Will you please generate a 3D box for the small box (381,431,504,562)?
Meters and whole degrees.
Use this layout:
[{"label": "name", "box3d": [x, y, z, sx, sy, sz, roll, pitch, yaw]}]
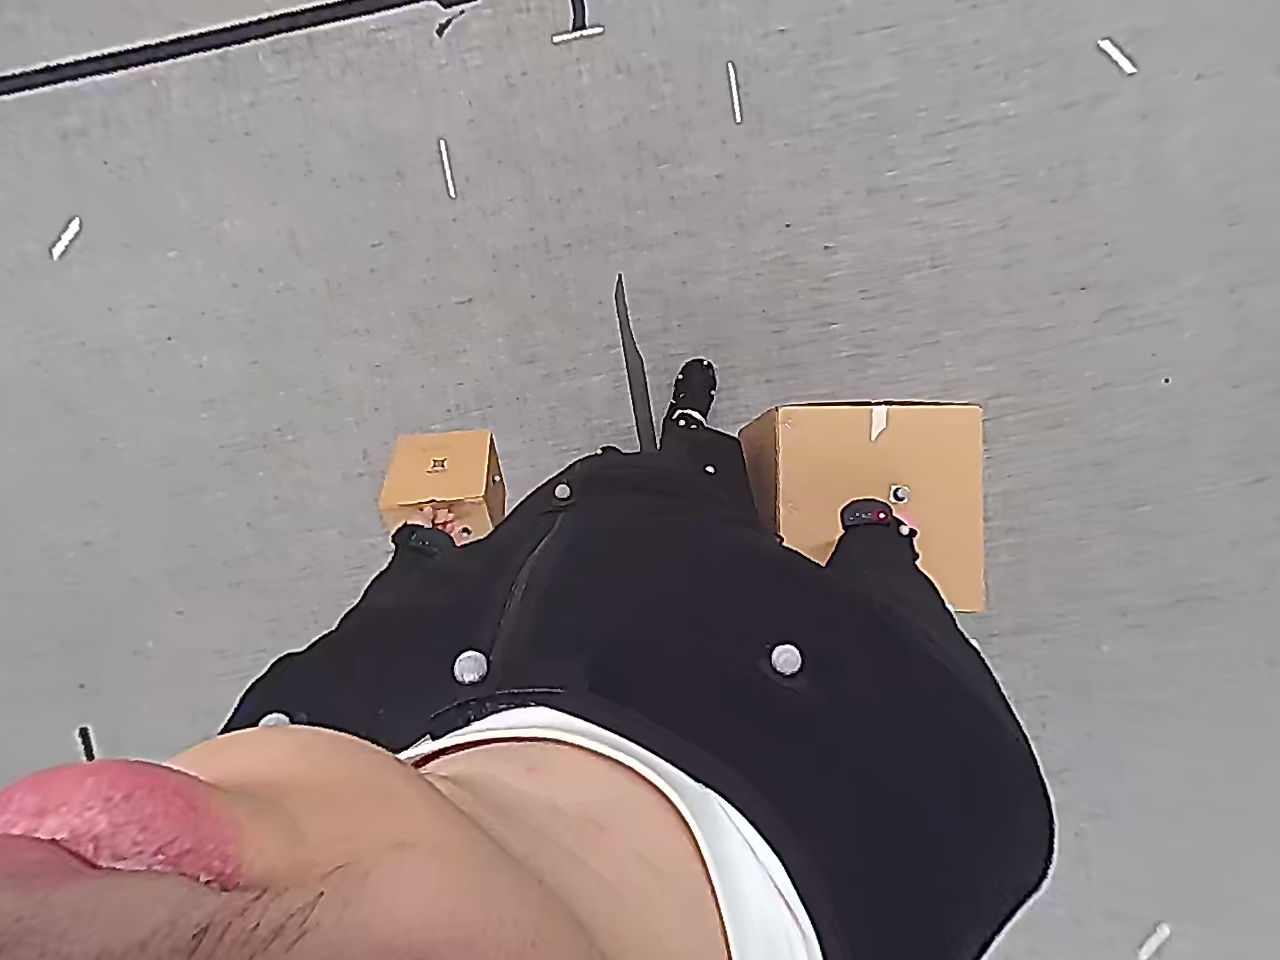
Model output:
[{"label": "small box", "box3d": [-0.342, 0.034, 0.977, 0.168, 0.179, 0.176, -5, 134, -7]}]
